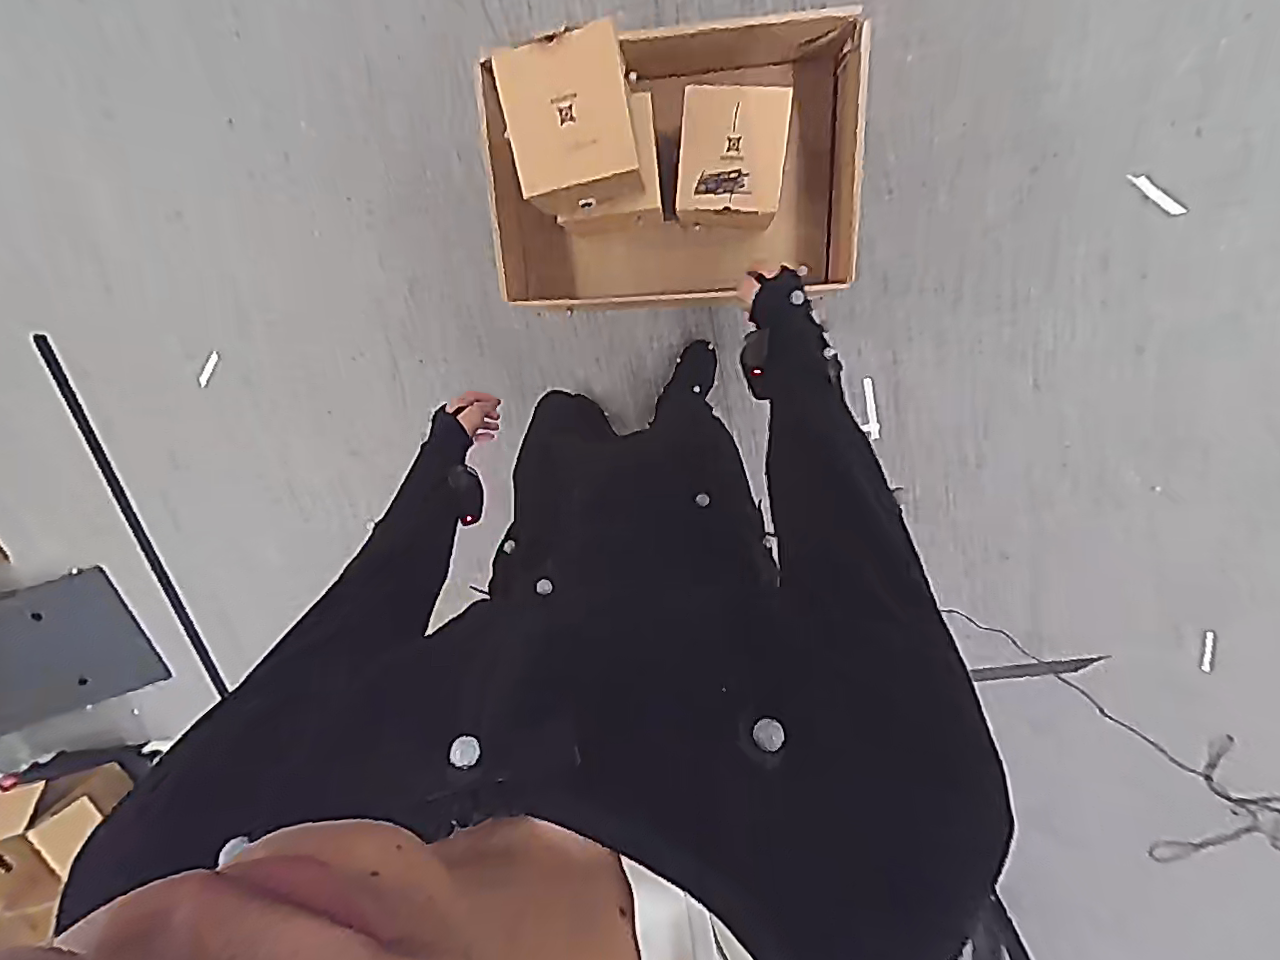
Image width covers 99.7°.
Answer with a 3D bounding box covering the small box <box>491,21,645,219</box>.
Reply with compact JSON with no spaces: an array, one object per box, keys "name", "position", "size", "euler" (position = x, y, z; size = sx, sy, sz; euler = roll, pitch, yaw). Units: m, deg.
[{"name":"small box","position":[-0.092,-0.501,0.783],"size":[0.168,0.176,0.179],"euler":[-10,106,8]}]
